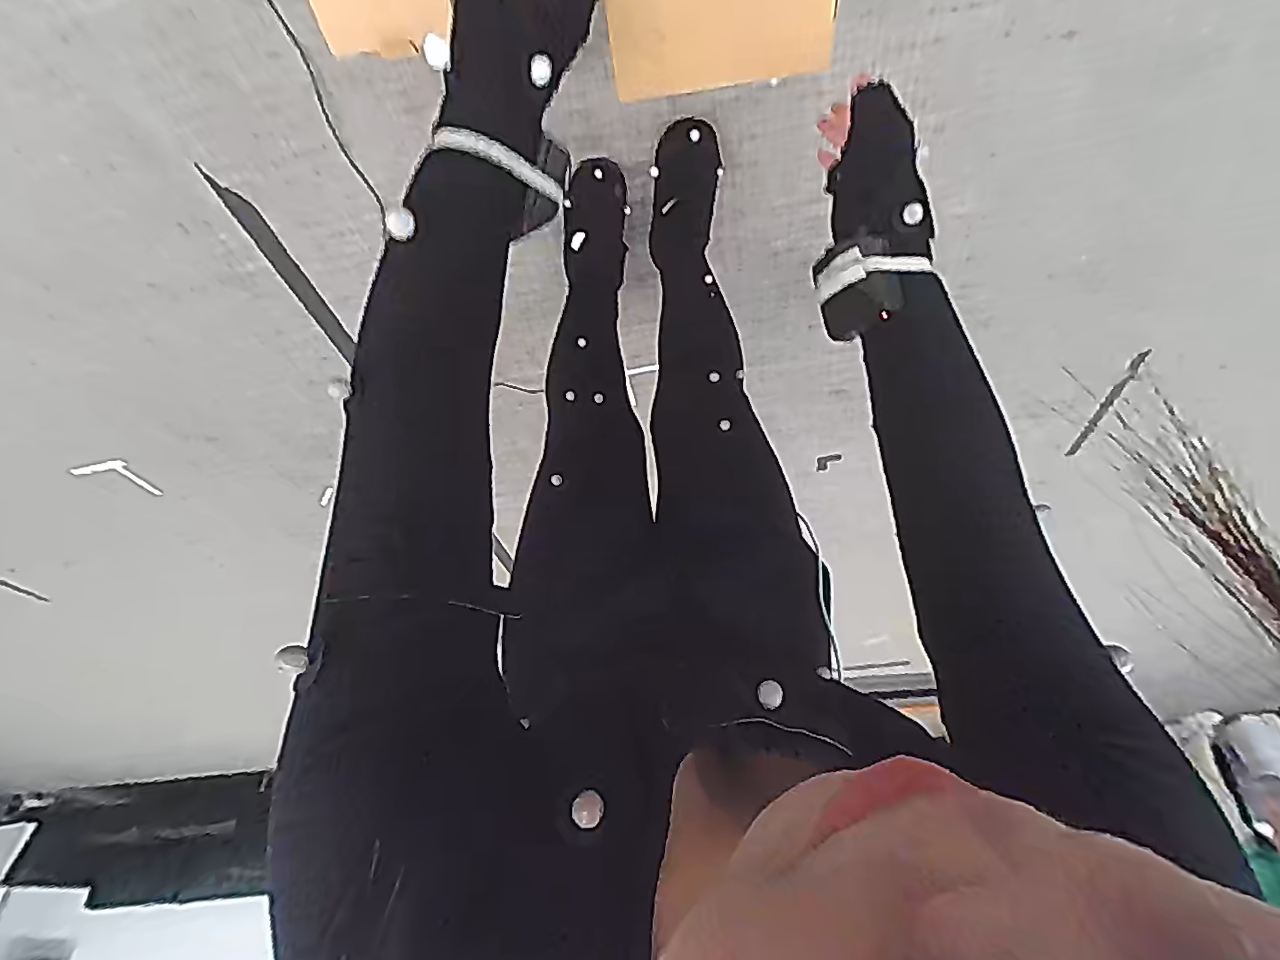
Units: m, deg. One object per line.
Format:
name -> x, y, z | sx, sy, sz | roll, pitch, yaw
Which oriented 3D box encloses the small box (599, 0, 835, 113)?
small box -> 0.053, -0.428, 0.435 | 0.179, 0.176, 0.168 | -7, 141, 4
